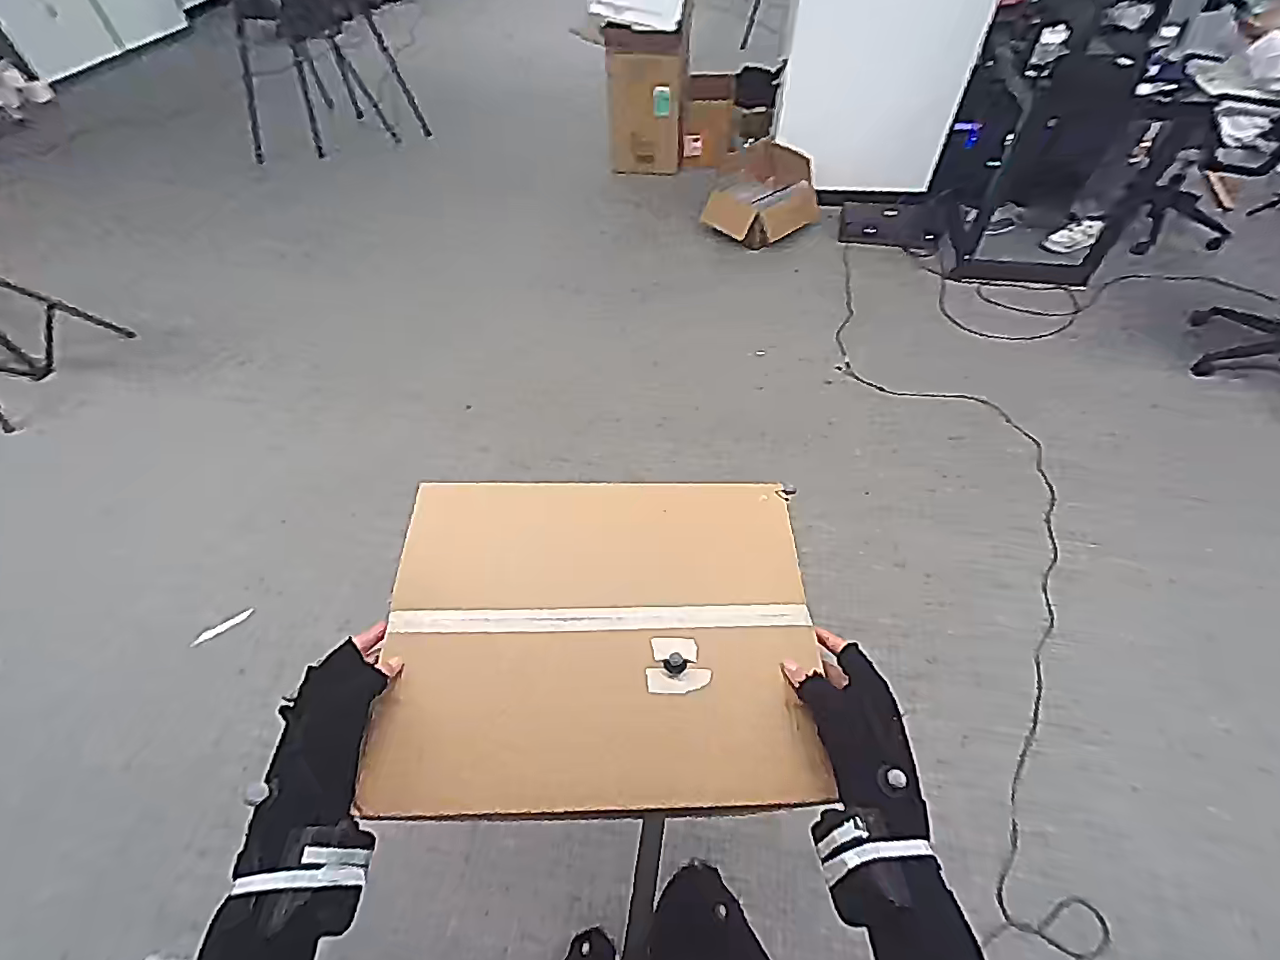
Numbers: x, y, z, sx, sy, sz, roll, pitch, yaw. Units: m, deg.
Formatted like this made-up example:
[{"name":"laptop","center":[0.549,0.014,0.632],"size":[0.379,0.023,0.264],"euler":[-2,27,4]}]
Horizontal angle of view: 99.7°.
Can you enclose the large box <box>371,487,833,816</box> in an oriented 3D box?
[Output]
[{"name":"large box","center":[-0.040,0.219,0.663],"size":[0.408,0.320,0.320],"euler":[1,57,-3]}]
